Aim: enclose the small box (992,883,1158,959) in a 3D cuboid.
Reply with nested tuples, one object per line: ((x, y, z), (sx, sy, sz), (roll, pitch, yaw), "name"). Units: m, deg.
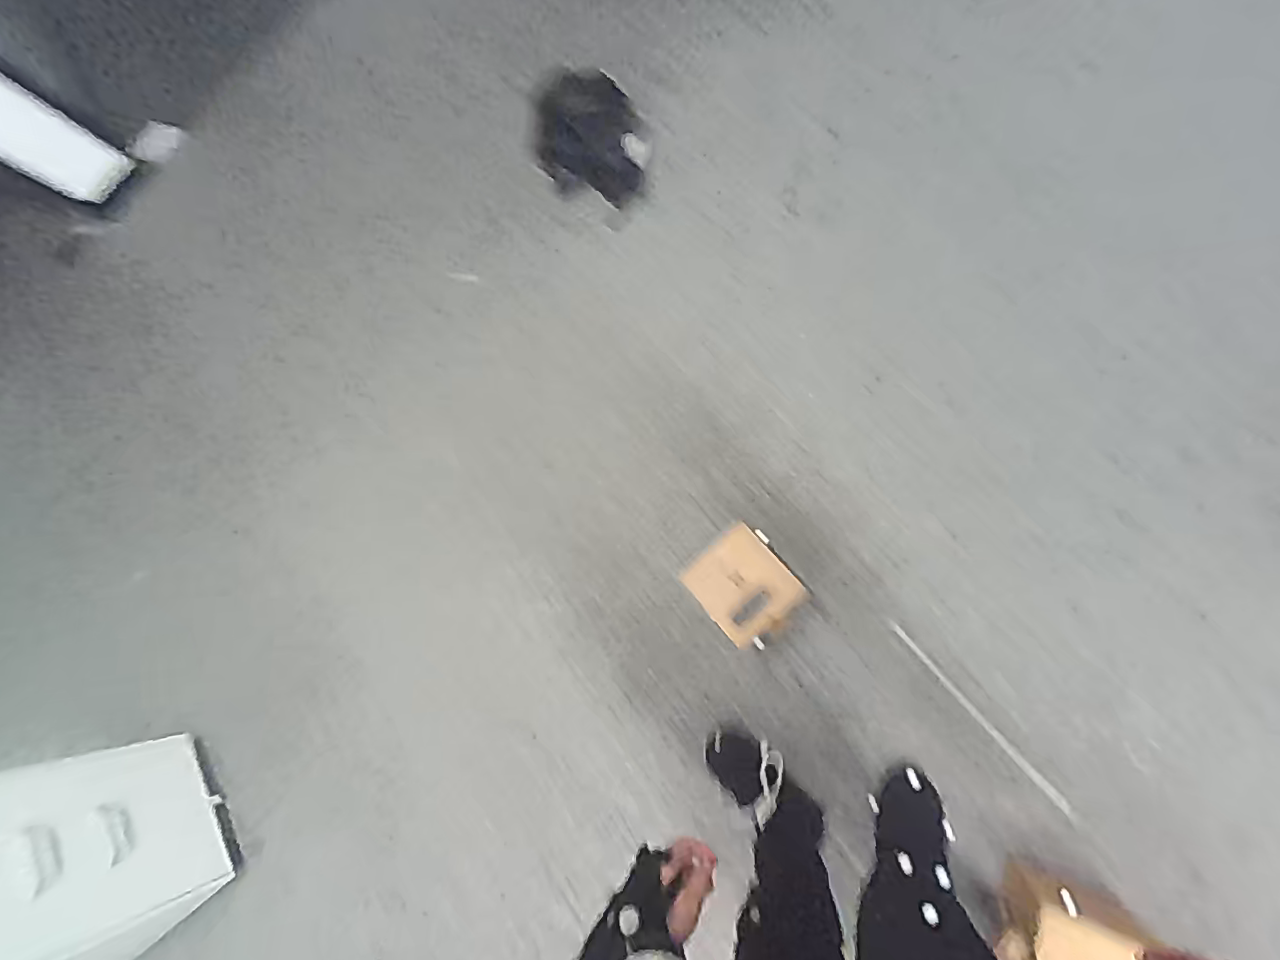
((0.664, 0.754, 0.806), (0.179, 0.176, 0.168), (16, 82, 21), "small box")
